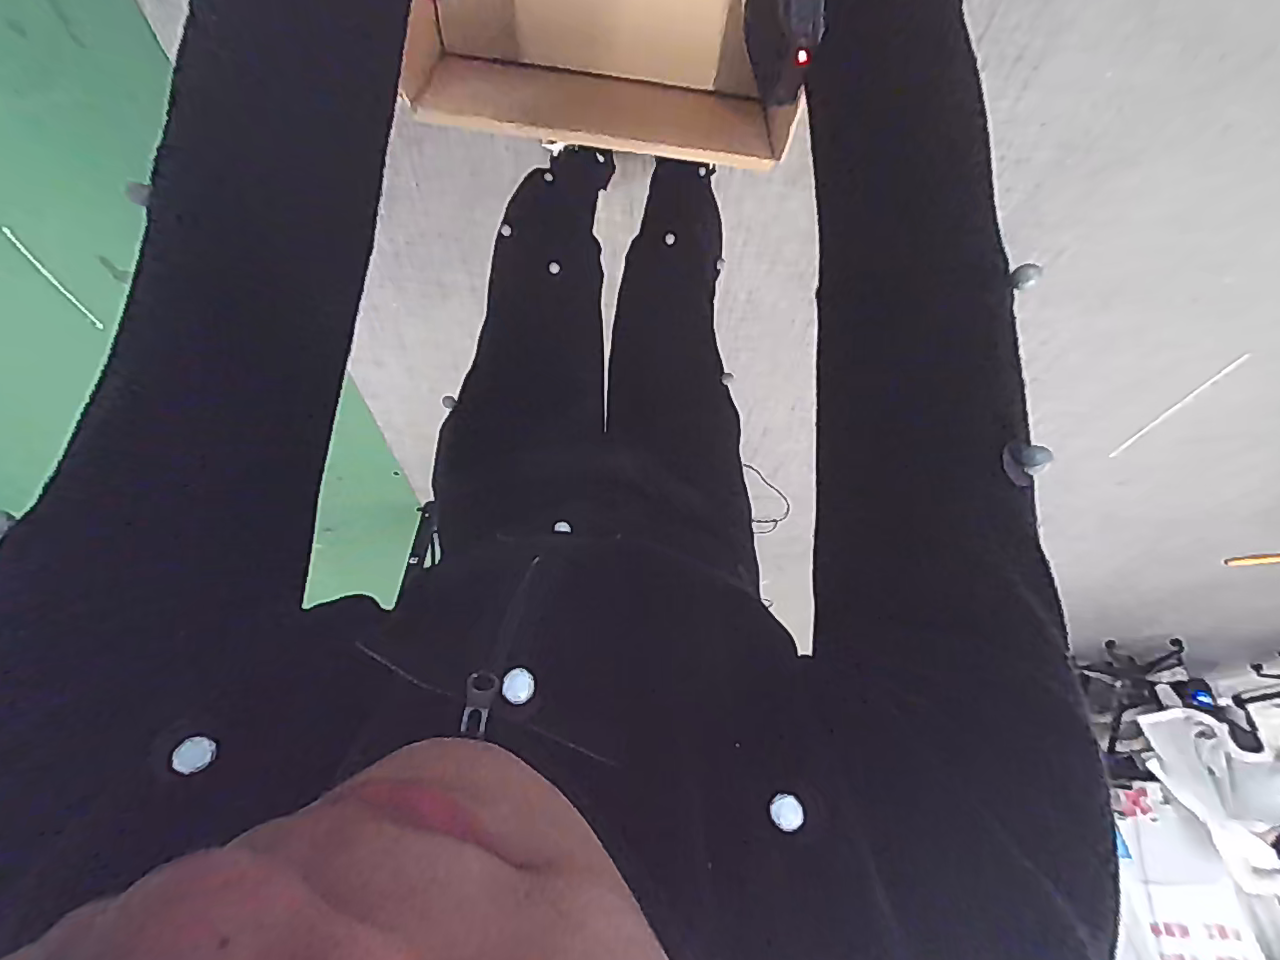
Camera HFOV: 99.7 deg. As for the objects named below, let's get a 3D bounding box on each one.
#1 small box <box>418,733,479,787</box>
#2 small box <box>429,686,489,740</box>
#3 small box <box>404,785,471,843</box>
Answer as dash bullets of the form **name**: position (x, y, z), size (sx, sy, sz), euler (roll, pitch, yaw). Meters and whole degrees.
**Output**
- **small box**: position (-0.694, 1.029, 1.984), size (0.179, 0.176, 0.168), euler (5, 147, -7)
- **small box**: position (-0.691, 0.896, 2.081), size (0.179, 0.176, 0.168), euler (5, 147, -7)
- **small box**: position (-0.703, 1.166, 1.892), size (0.179, 0.176, 0.168), euler (5, 148, -7)
